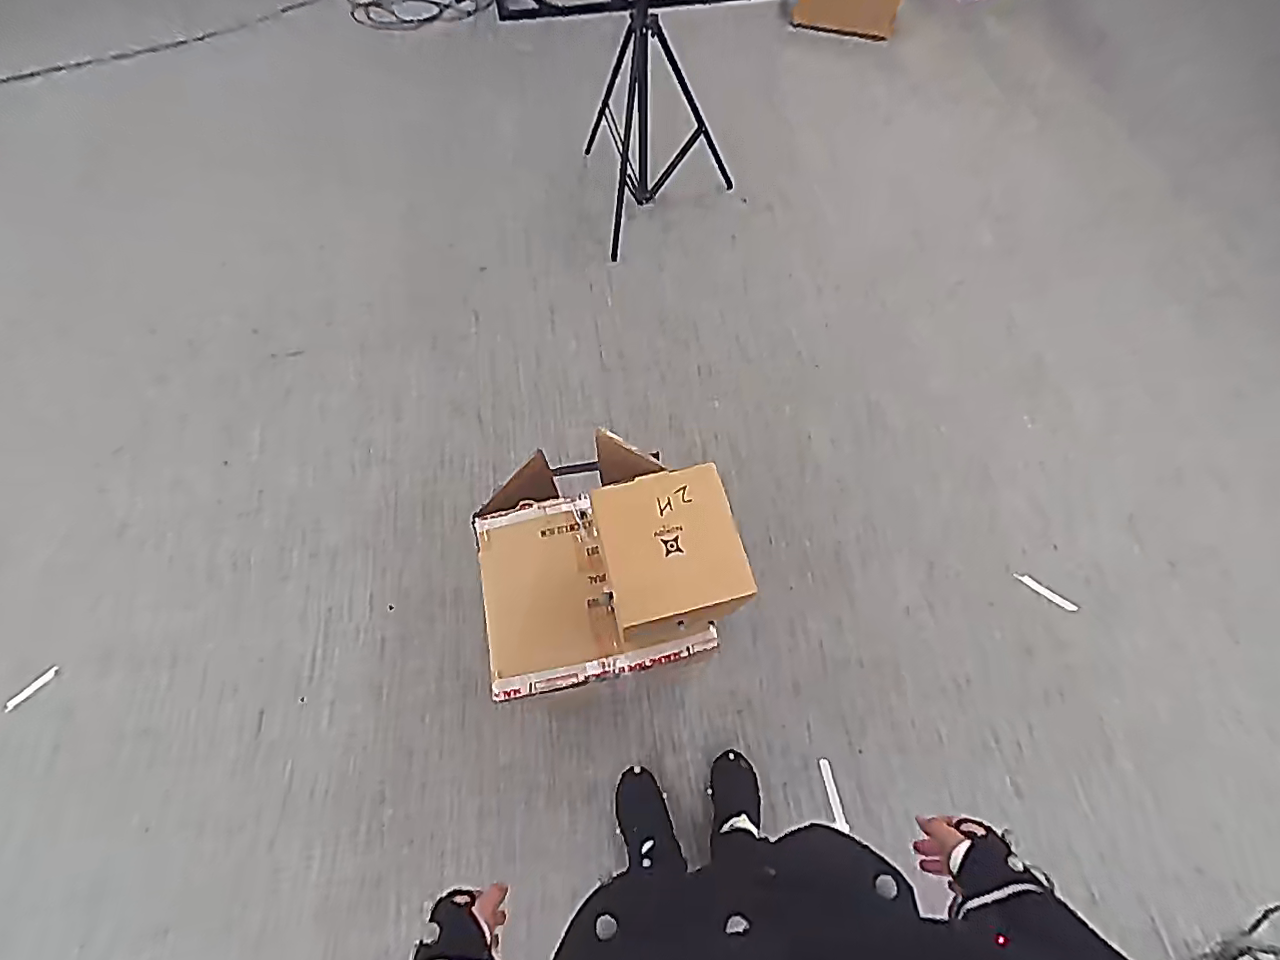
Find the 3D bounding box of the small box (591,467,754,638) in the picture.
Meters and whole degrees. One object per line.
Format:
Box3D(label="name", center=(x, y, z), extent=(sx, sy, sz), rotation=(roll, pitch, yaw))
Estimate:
Box3D(label="small box", center=(0.036, 0.107, 0.727), extent=(0.168, 0.176, 0.179), rotation=(-13, 68, -7))
